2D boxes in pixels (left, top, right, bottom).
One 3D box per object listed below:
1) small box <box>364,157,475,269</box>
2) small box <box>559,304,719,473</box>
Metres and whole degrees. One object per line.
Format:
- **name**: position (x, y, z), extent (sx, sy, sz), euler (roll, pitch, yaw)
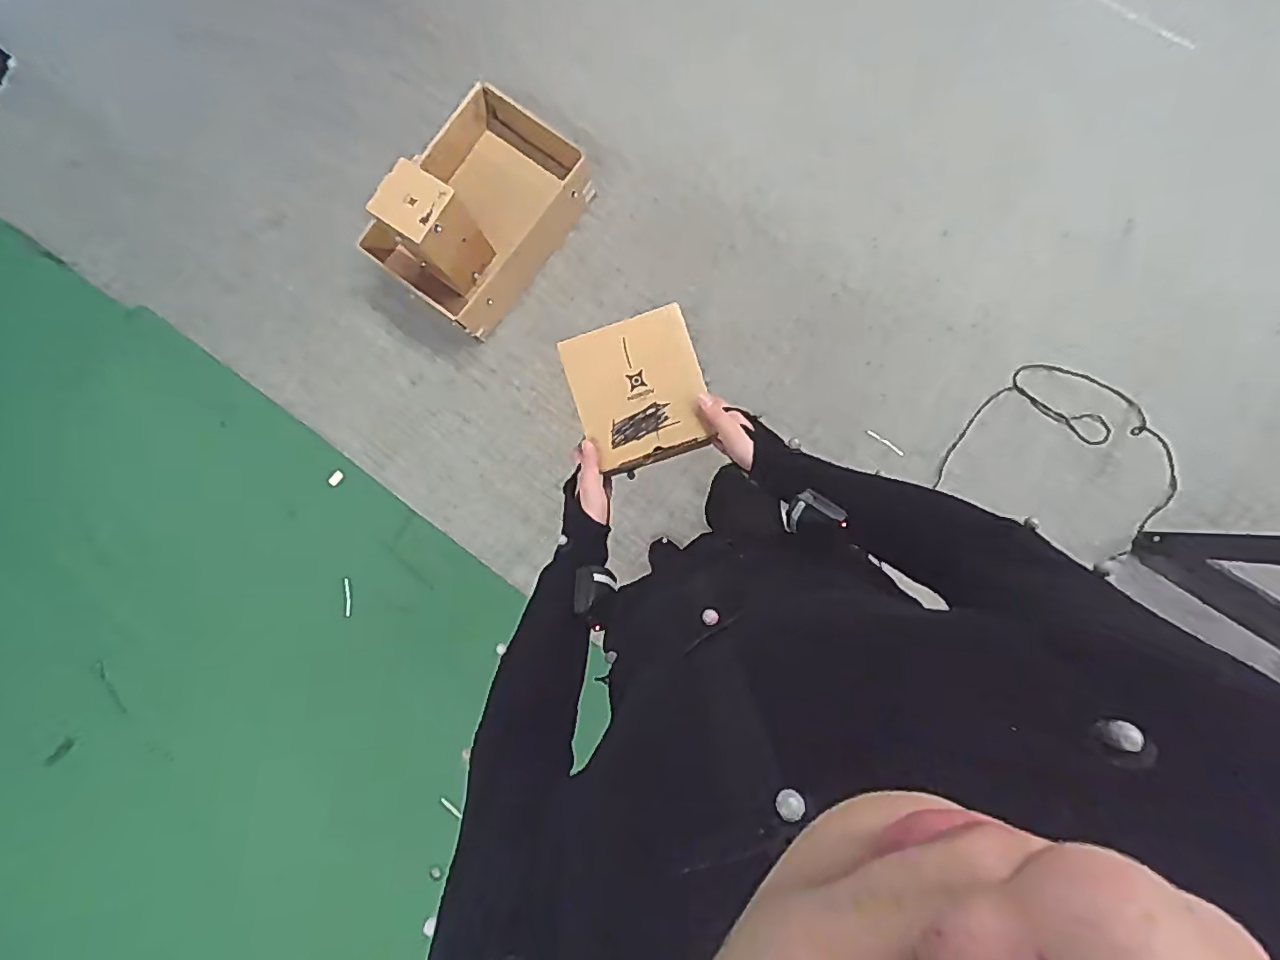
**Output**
- **small box**: position (-0.575, -0.694, 1.428), extent (0.179, 0.176, 0.168), euler (34, 90, 5)
- **small box**: position (0.004, -0.115, 0.758), extent (0.168, 0.176, 0.179), euler (-18, 87, 2)
